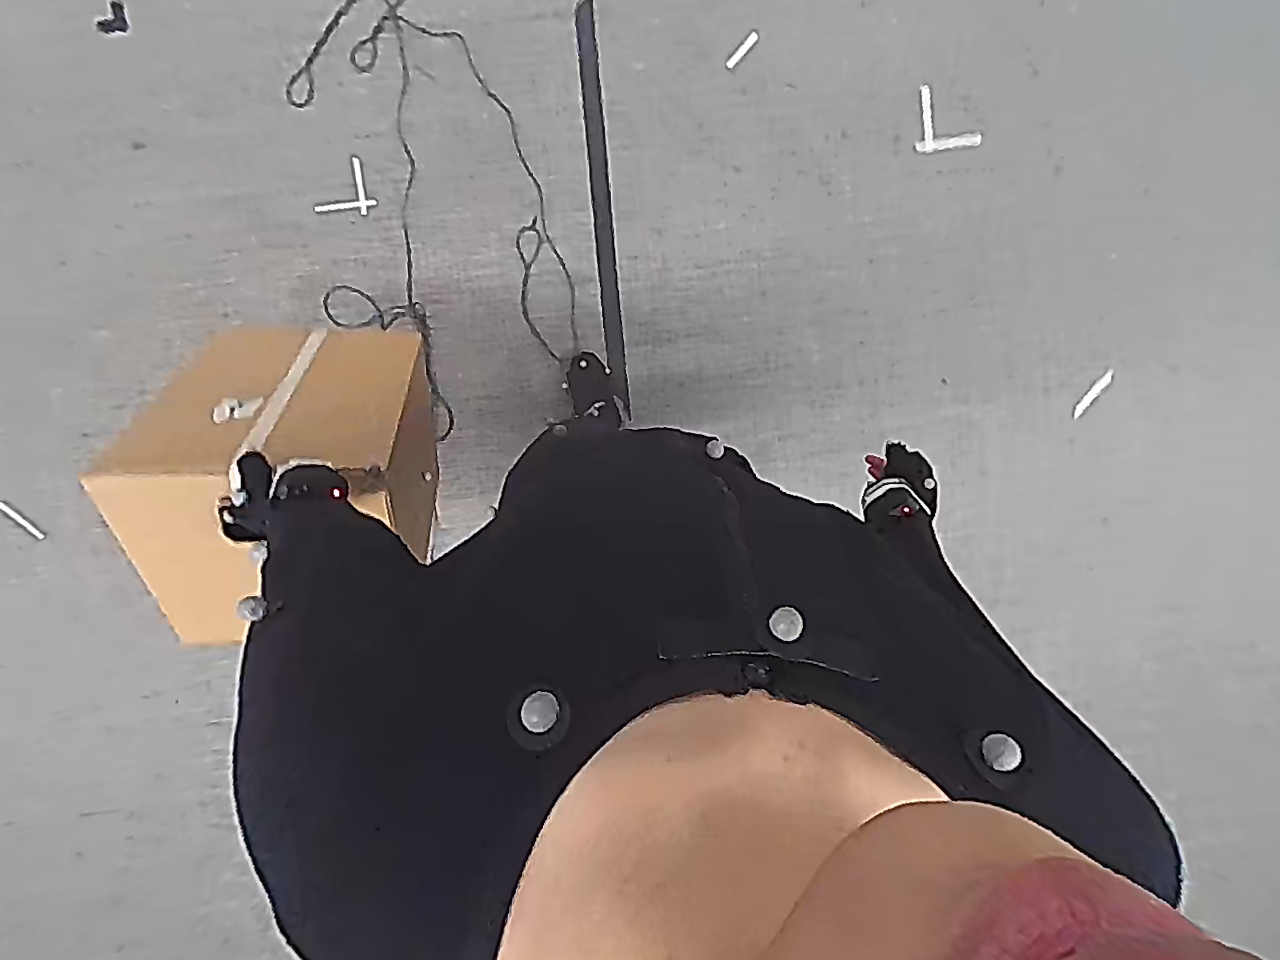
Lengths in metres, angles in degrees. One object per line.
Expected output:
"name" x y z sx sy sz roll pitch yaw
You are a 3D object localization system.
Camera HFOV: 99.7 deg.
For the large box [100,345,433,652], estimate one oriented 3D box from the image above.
"large box" -0.524 0.008 0.882 0.320 0.408 0.320 -4 129 -13
